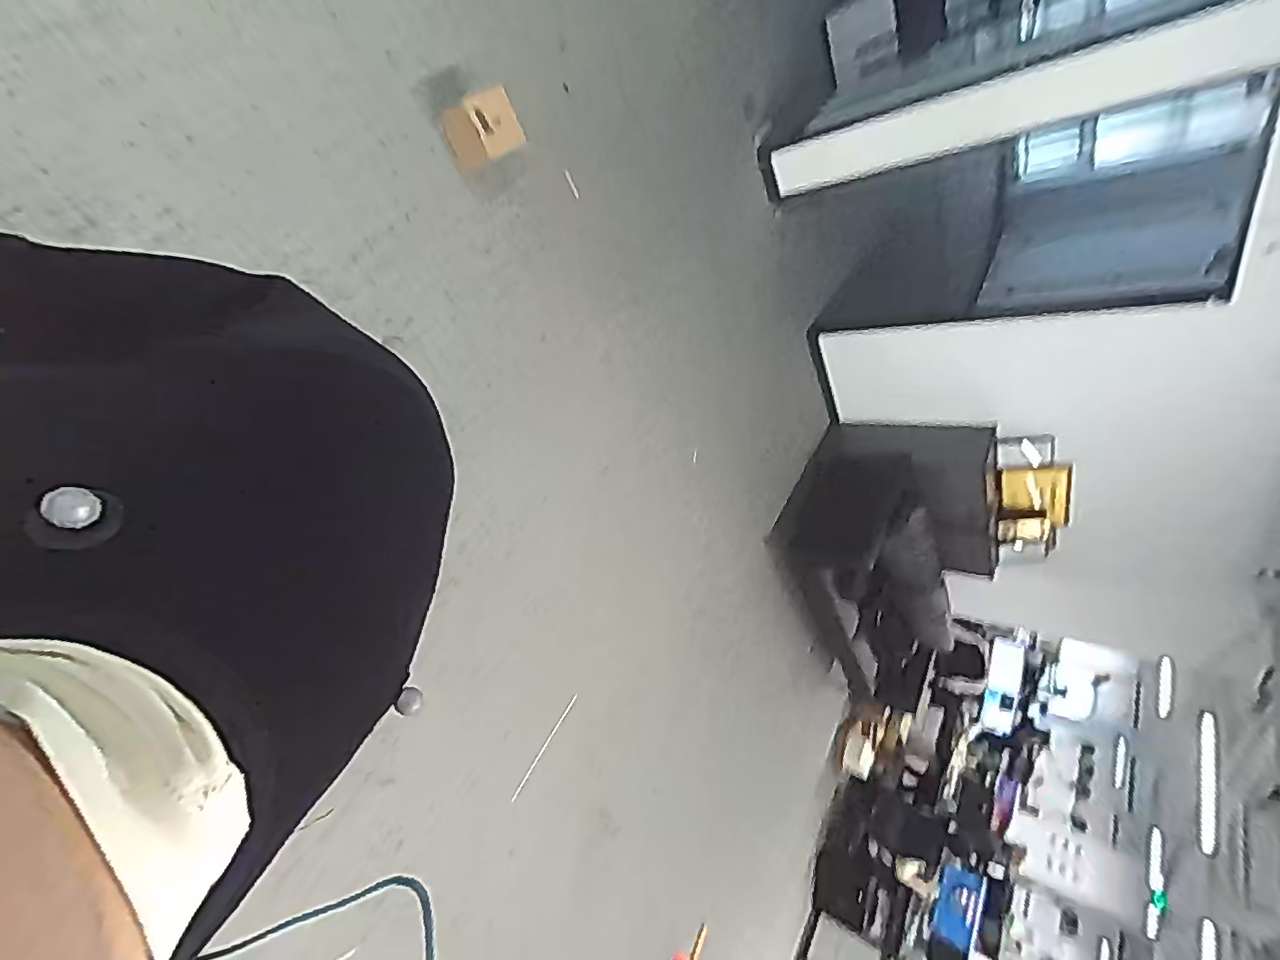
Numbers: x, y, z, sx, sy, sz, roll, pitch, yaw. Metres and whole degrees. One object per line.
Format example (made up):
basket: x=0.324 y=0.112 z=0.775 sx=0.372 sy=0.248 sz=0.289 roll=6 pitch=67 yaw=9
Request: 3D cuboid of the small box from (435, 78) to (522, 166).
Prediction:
small box: x=-0.512 y=-1.114 z=1.690 sx=0.179 sy=0.176 sz=0.168 roll=-51 pitch=132 yaw=-32
